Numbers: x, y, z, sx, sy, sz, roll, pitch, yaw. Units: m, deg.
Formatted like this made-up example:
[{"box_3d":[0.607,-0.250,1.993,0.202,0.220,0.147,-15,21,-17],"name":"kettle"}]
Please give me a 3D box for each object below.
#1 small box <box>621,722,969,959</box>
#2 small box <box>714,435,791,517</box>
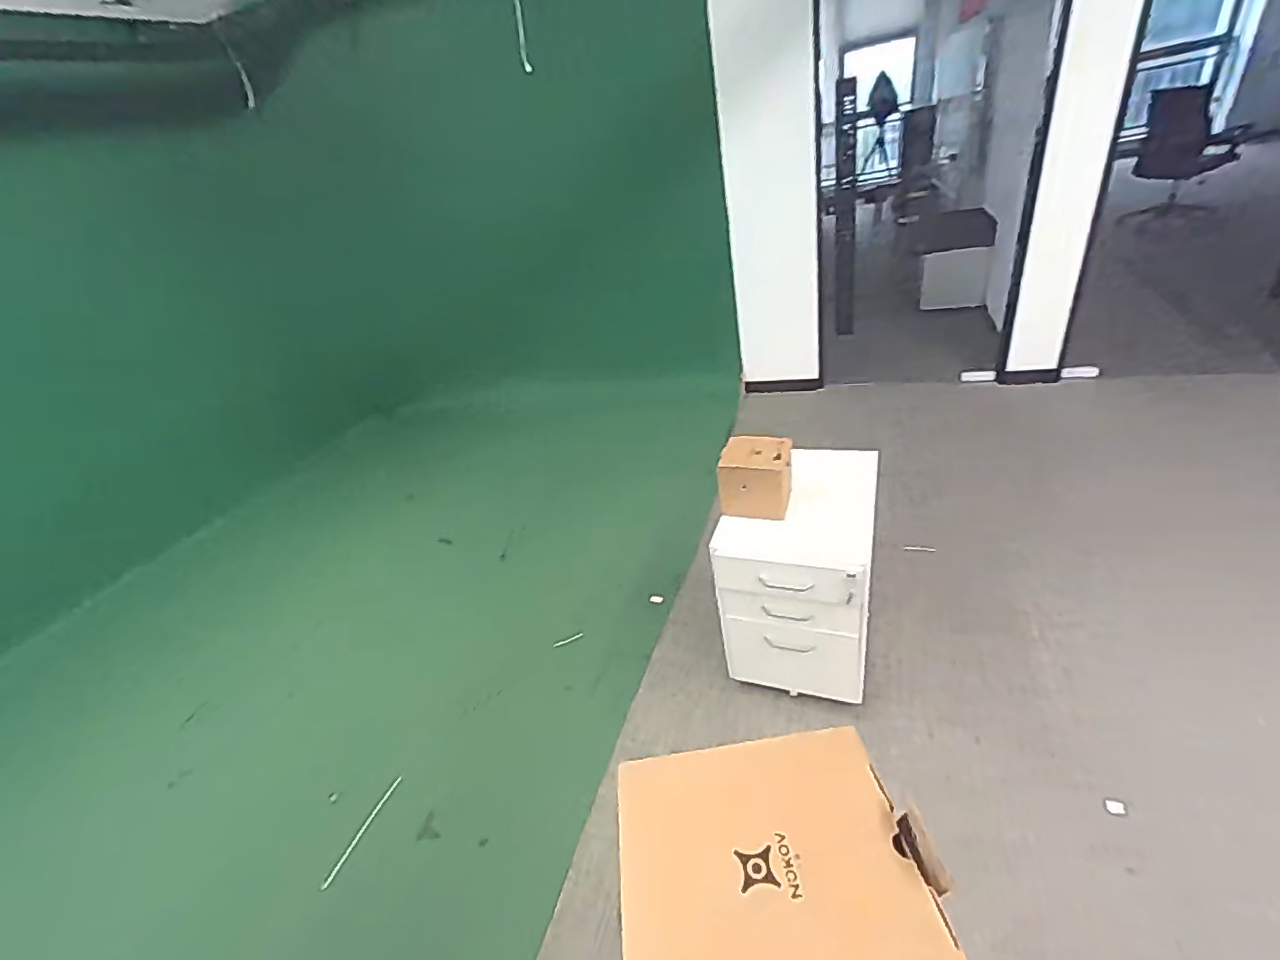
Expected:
[{"box_3d":[0.089,0.296,0.357,0.179,0.176,0.168,-10,28,1],"name":"small box"},{"box_3d":[0.319,-0.013,1.509,0.179,0.176,0.168,3,36,23],"name":"small box"}]
